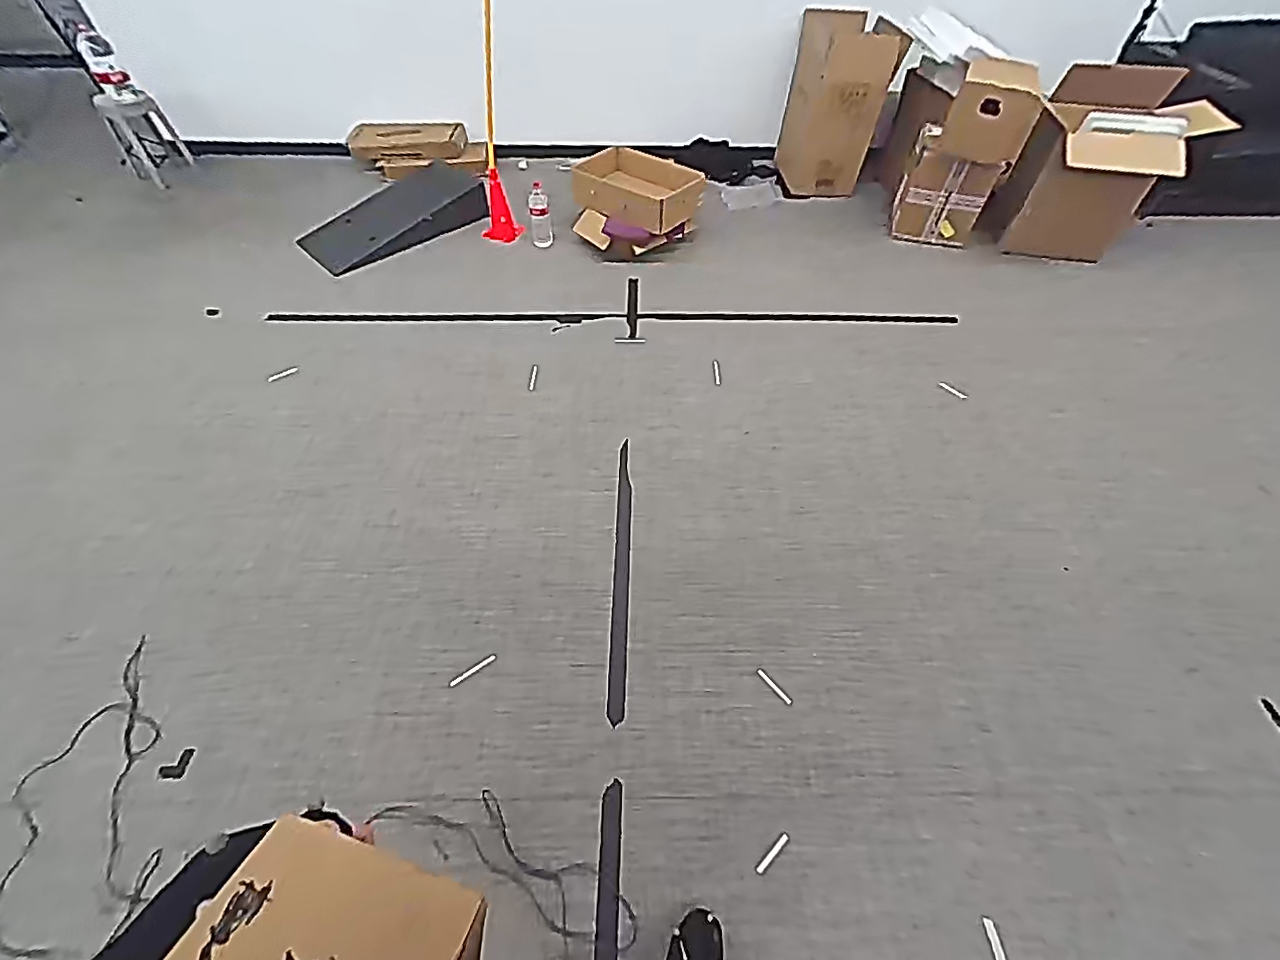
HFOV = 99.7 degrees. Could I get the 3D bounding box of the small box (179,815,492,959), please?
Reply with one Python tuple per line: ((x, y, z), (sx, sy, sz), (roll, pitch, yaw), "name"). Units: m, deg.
((-0.229, 0.395, 0.393), (0.179, 0.176, 0.168), (18, 31, 6), "small box")
